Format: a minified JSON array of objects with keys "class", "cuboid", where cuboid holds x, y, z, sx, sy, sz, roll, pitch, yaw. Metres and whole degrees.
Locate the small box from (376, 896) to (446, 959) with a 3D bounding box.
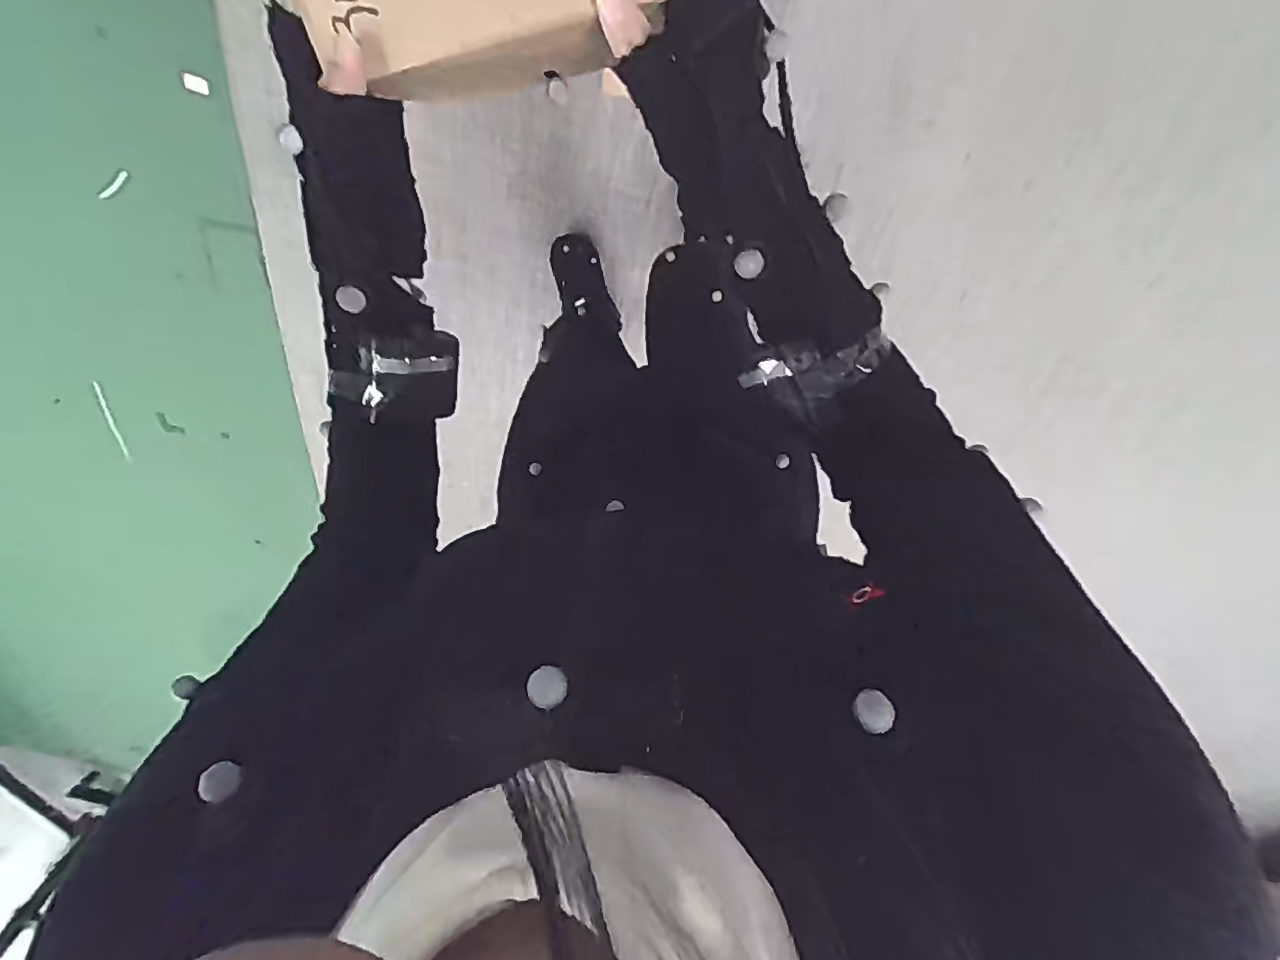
[{"class":"small box","cuboid":[-0.840,1.666,1.995,0.179,0.176,0.168,12,130,0]}]
